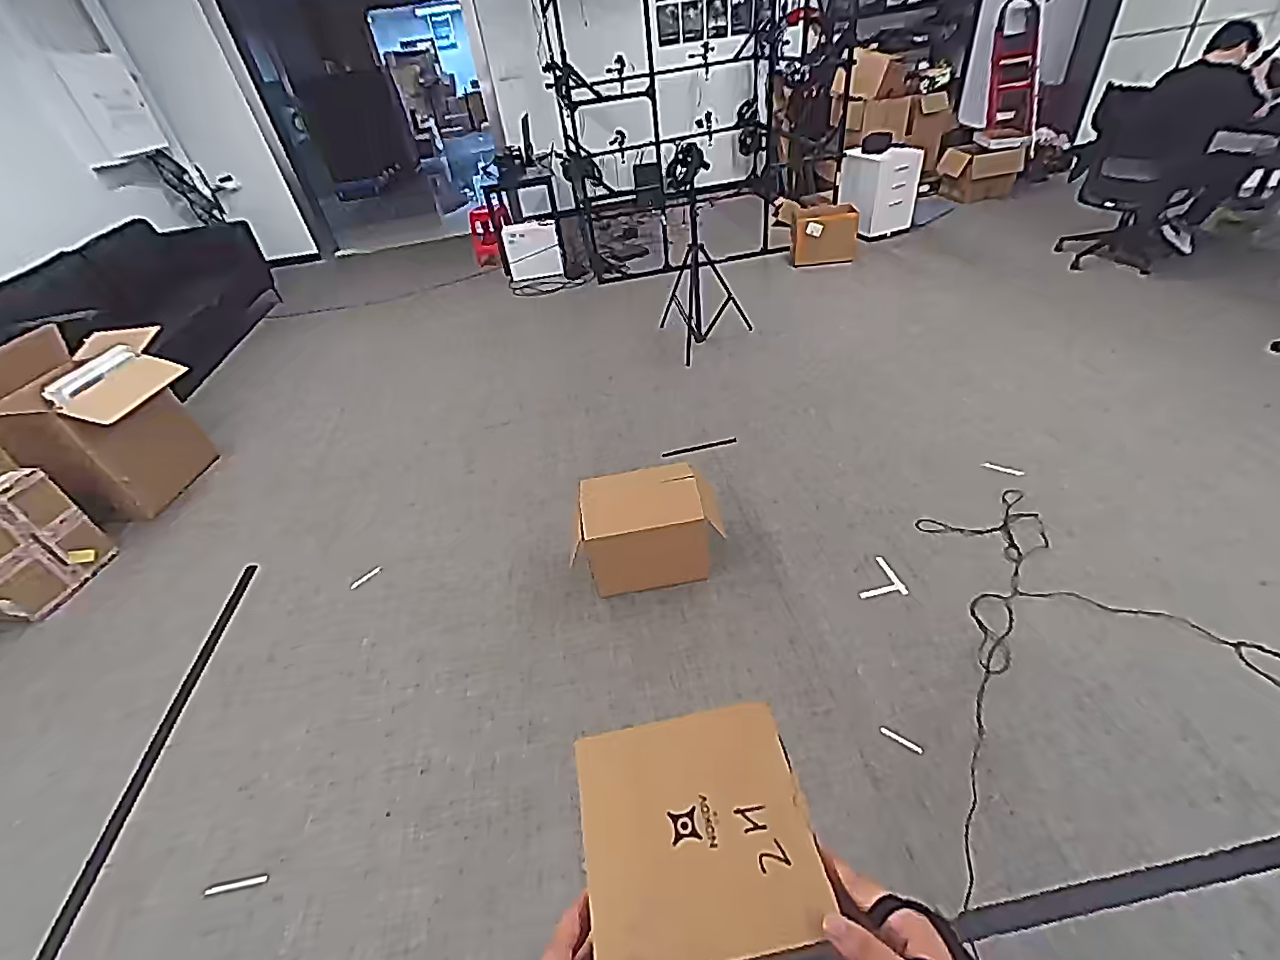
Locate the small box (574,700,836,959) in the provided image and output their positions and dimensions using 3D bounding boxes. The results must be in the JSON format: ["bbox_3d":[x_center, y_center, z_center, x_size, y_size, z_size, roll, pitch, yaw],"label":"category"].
[{"bbox_3d":[0.047,0.324,0.480,0.179,0.176,0.168,-10,46,-4],"label":"small box"}]
